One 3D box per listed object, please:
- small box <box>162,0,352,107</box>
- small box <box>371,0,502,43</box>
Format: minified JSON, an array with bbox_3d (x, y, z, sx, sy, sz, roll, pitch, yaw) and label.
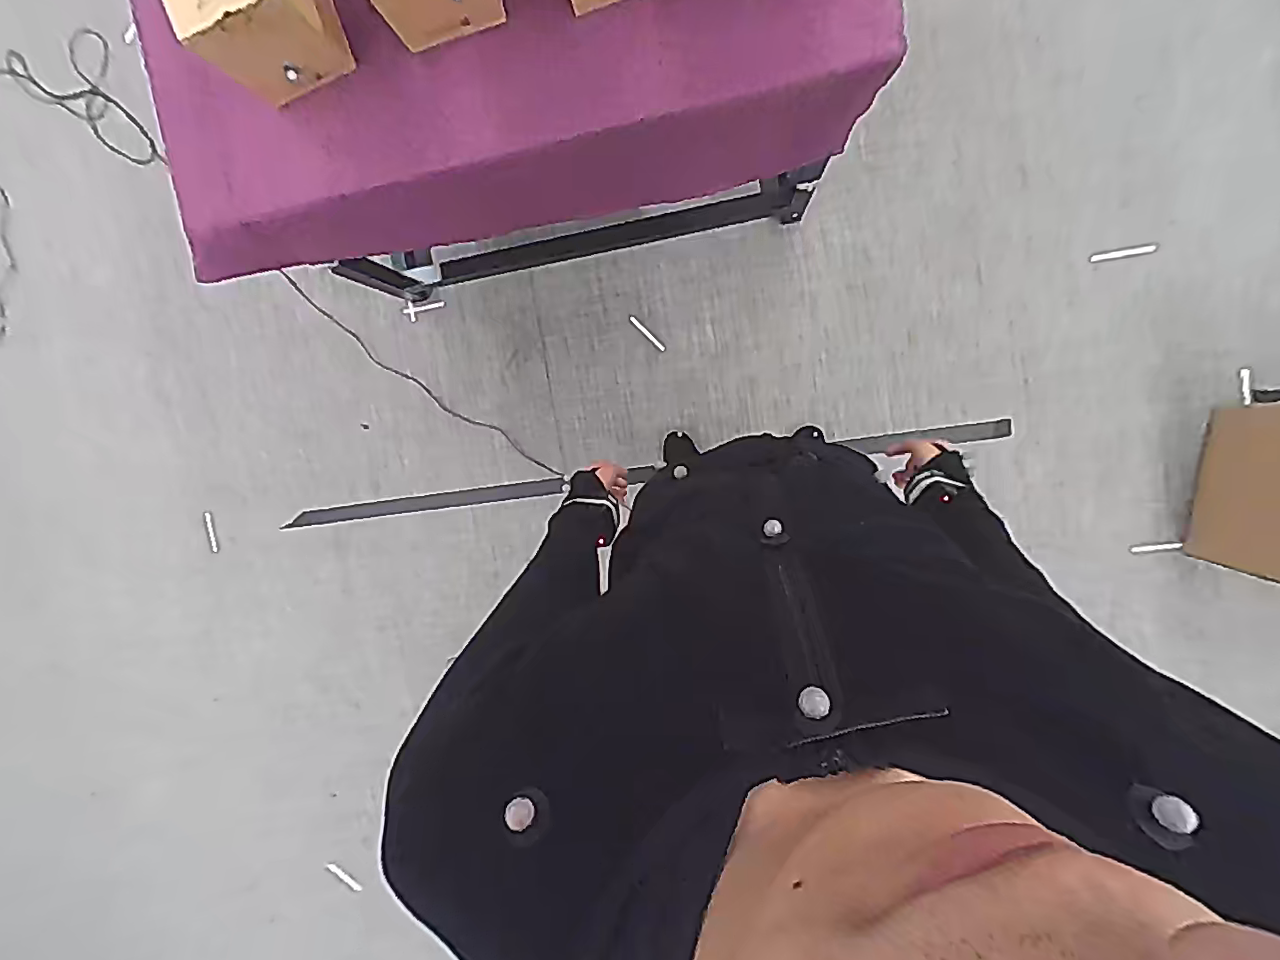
[{"bbox_3d":[-0.574,-0.714,0.805,0.168,0.176,0.179,-18,94,9],"label":"small box"},{"bbox_3d":[-0.313,-0.771,0.767,0.168,0.176,0.179,-11,95,8],"label":"small box"}]
